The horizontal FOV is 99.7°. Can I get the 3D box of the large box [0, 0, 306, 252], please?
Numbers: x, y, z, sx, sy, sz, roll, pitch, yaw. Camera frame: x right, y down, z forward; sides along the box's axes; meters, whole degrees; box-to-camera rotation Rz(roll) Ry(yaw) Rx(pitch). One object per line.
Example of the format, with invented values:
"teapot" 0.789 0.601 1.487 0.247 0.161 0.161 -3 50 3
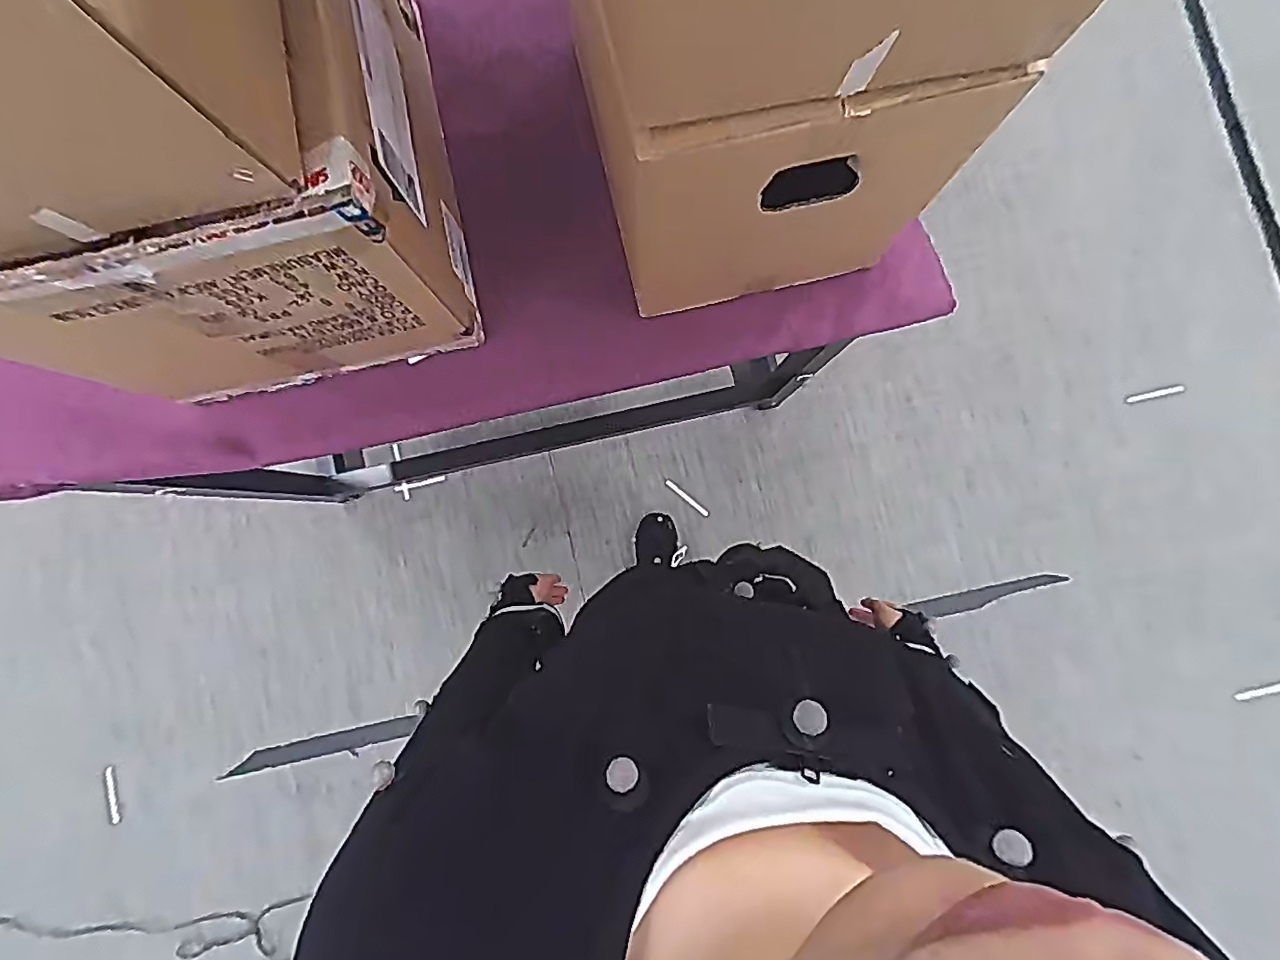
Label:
"large box" -0.425 -0.385 0.251 0.320 0.320 0.408 -12 86 3
